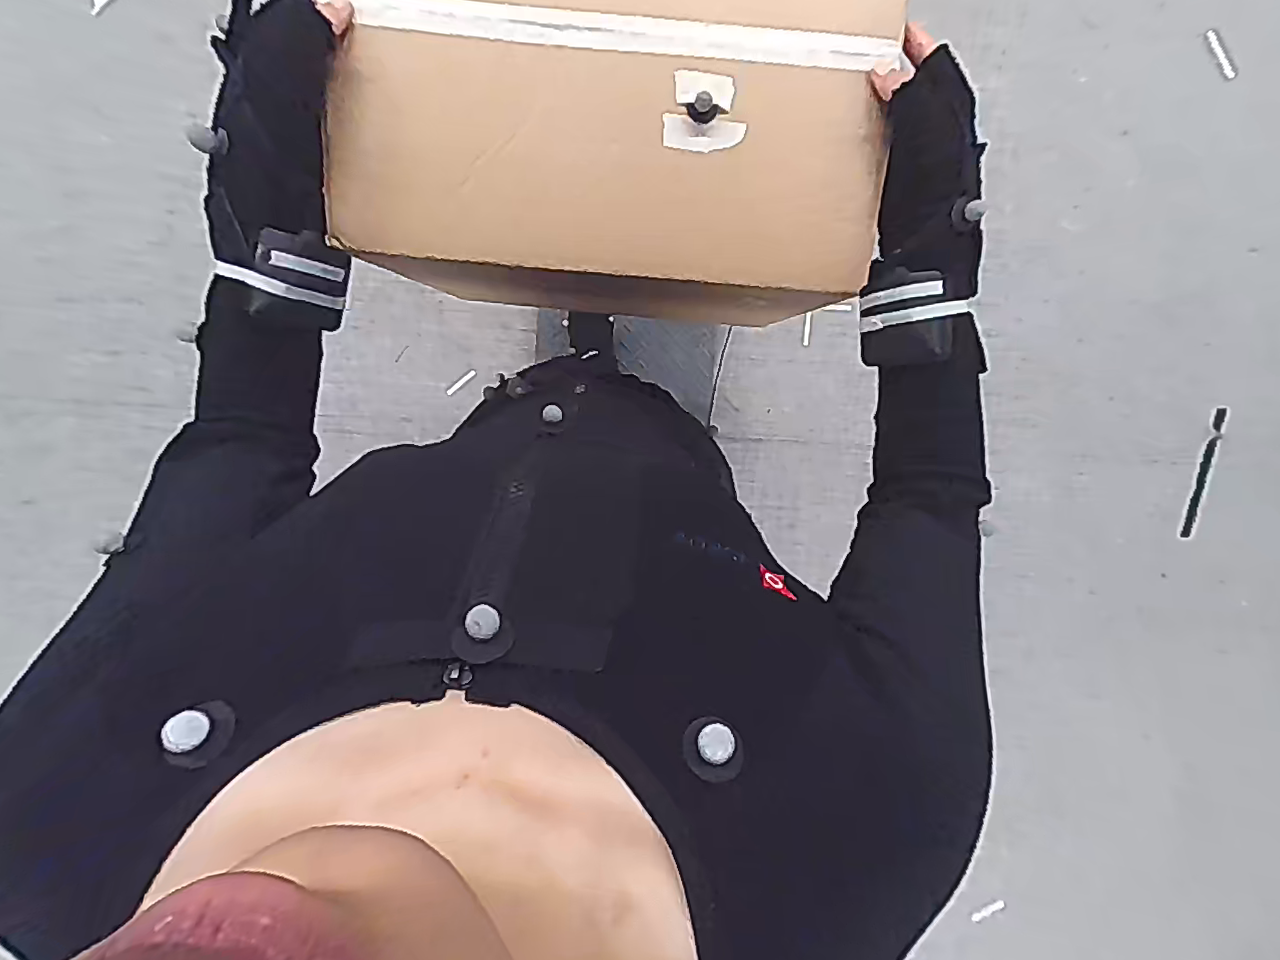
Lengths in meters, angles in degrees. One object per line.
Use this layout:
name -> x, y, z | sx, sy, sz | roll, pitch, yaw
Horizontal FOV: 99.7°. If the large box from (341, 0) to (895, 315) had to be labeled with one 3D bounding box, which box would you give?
large box -> -0.020, -0.350, 0.538 | 0.408, 0.320, 0.320 | 4, 102, -2
